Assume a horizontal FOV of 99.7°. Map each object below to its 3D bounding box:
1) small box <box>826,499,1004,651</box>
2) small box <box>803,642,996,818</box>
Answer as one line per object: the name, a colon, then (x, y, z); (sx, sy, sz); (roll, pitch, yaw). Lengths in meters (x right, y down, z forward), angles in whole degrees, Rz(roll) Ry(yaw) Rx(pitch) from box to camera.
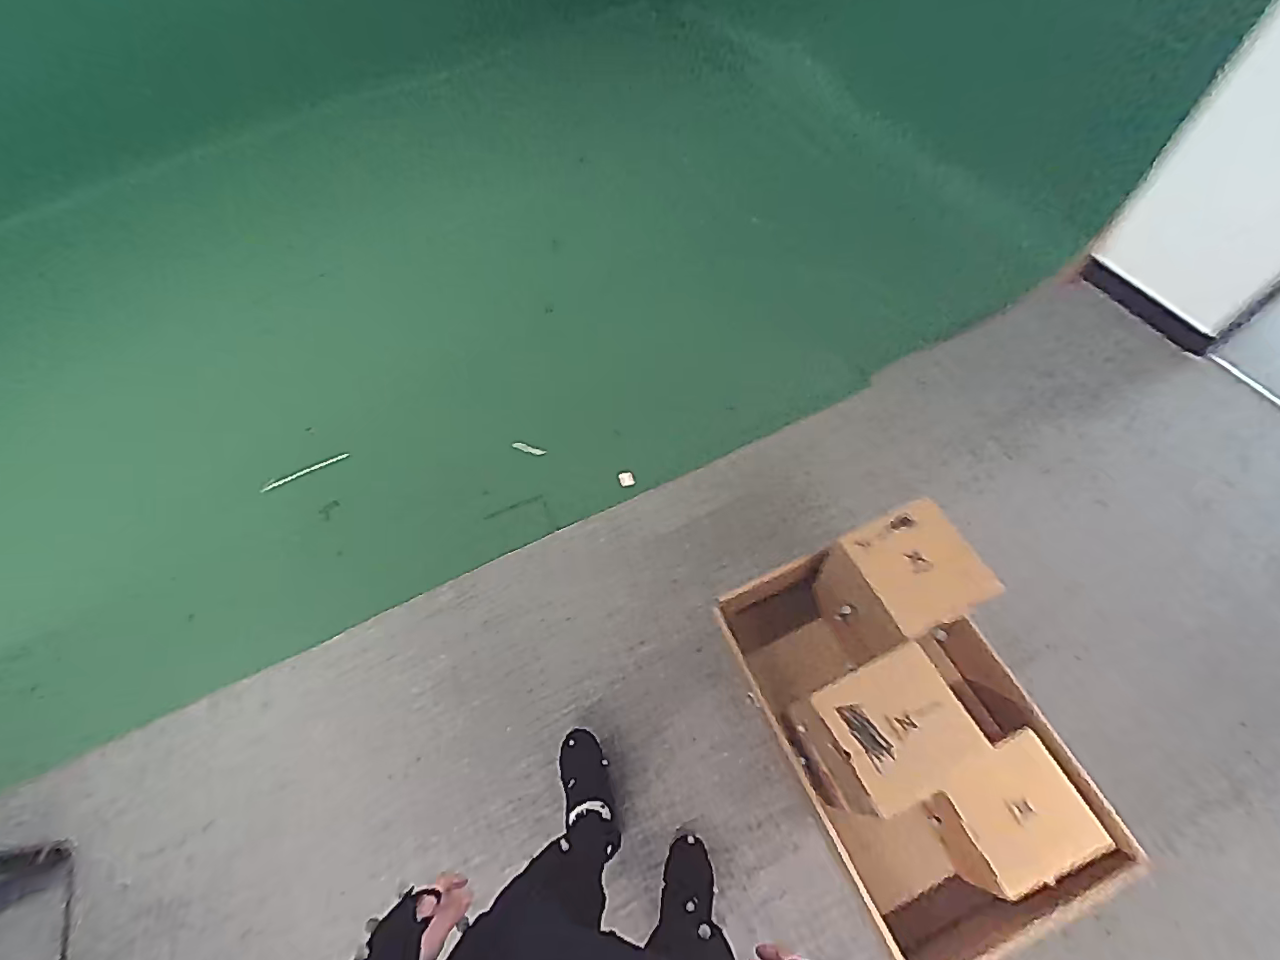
small box: (0.432, 0.165, 0.884); (0.168, 0.176, 0.179); (-24, 63, -5)
small box: (0.355, 0.363, 0.786); (0.179, 0.176, 0.168); (-24, 62, -7)
